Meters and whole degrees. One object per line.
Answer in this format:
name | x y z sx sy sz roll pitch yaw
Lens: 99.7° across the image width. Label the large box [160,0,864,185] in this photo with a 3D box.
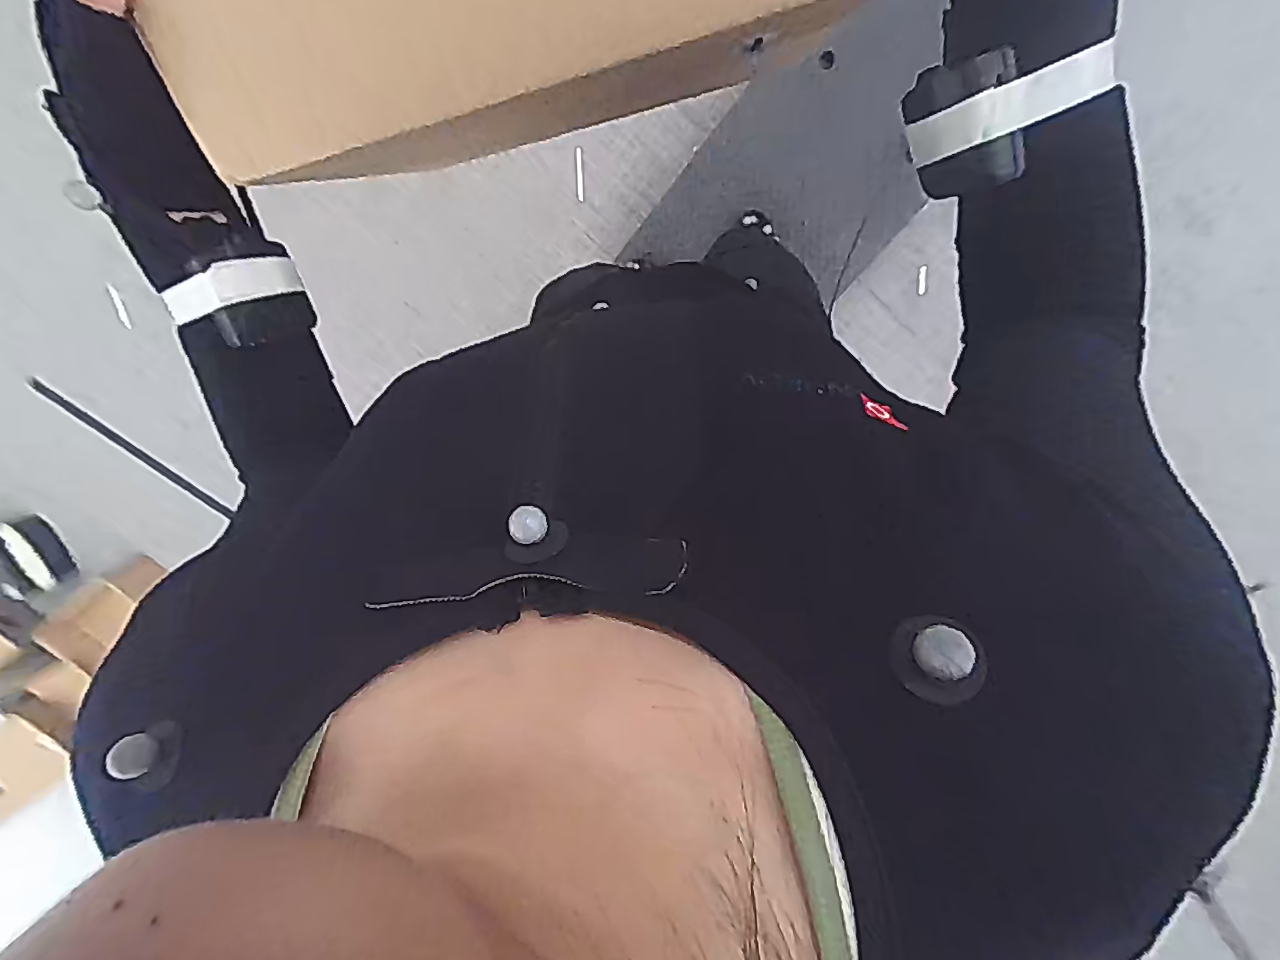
large box | -0.076 -0.429 0.364 0.408 0.320 0.320 -9 119 11
